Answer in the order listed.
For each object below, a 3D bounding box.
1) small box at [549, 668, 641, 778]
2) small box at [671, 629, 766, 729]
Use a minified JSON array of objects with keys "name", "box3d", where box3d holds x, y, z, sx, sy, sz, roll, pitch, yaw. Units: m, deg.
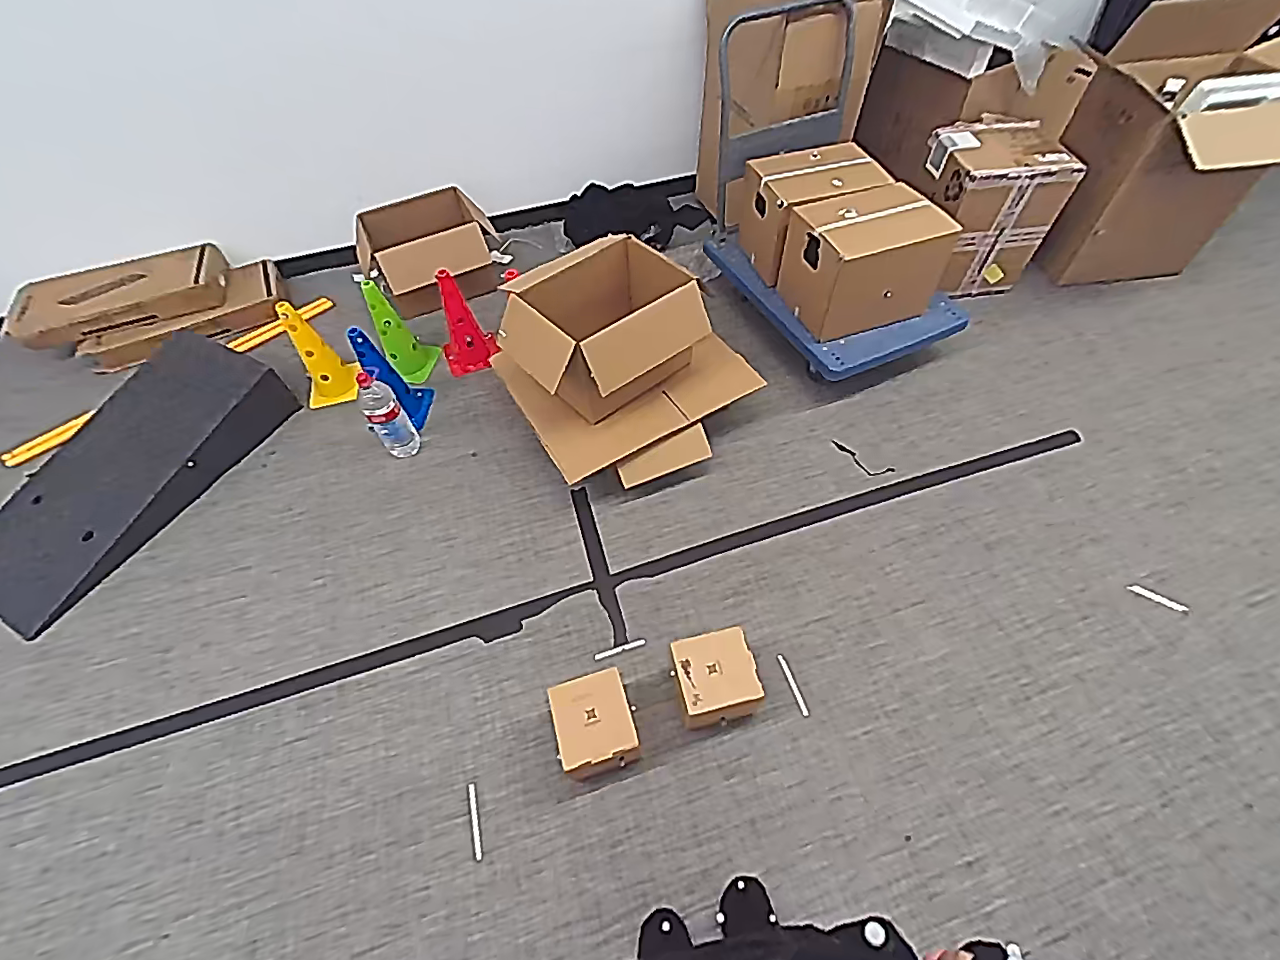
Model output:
[{"name":"small box","box3d":[-0.098,0.557,1.229,0.168,0.176,0.179,-15,55,-10]},{"name":"small box","box3d":[0.176,0.472,1.277,0.179,0.176,0.168,-11,56,-6]}]
